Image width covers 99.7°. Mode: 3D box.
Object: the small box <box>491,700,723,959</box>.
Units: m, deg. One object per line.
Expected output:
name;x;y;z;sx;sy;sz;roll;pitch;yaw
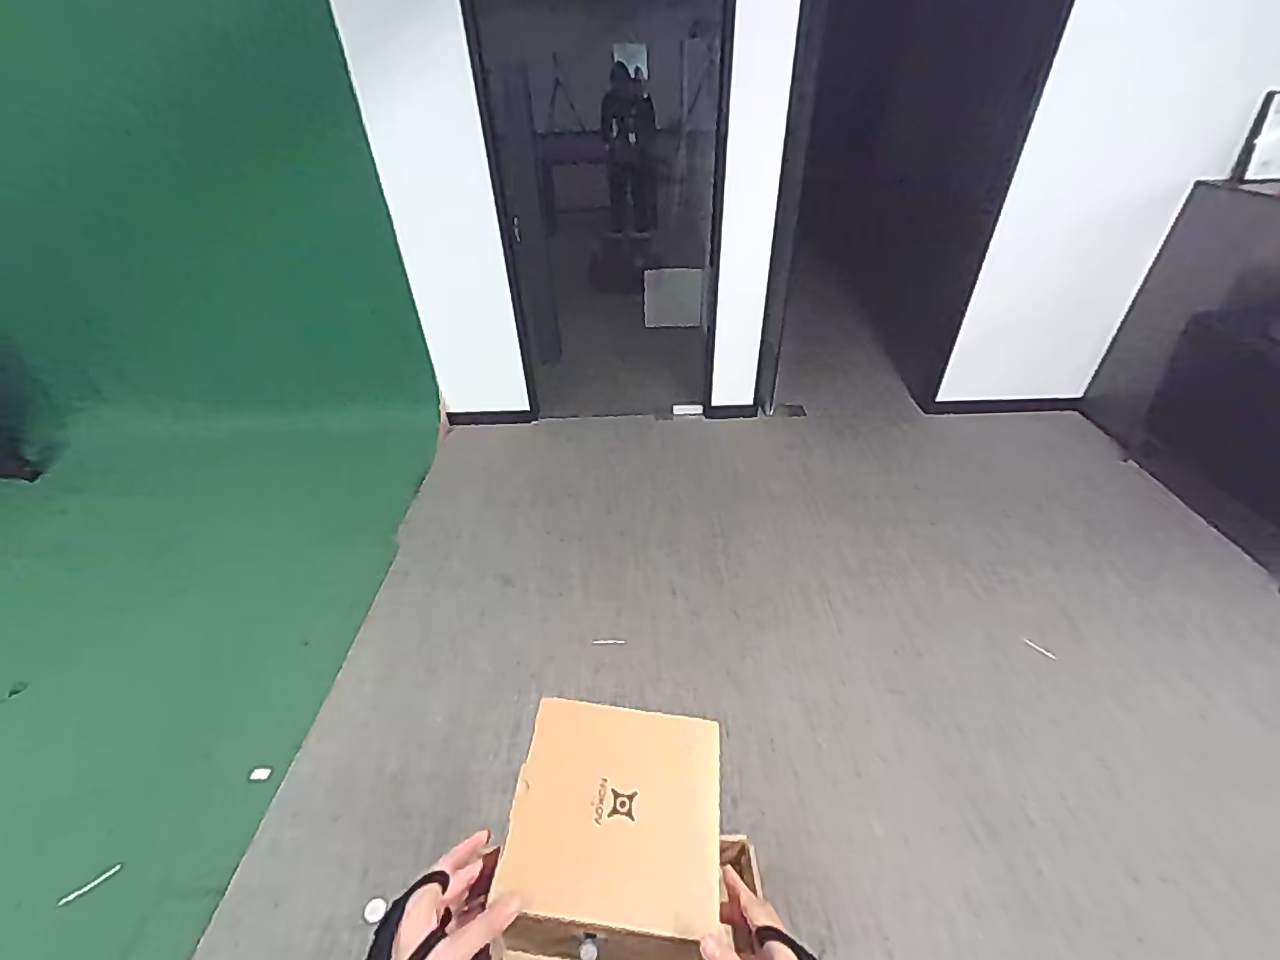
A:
small box;-0.021;0.336;0.512;0.179;0.176;0.168;6;41;3
